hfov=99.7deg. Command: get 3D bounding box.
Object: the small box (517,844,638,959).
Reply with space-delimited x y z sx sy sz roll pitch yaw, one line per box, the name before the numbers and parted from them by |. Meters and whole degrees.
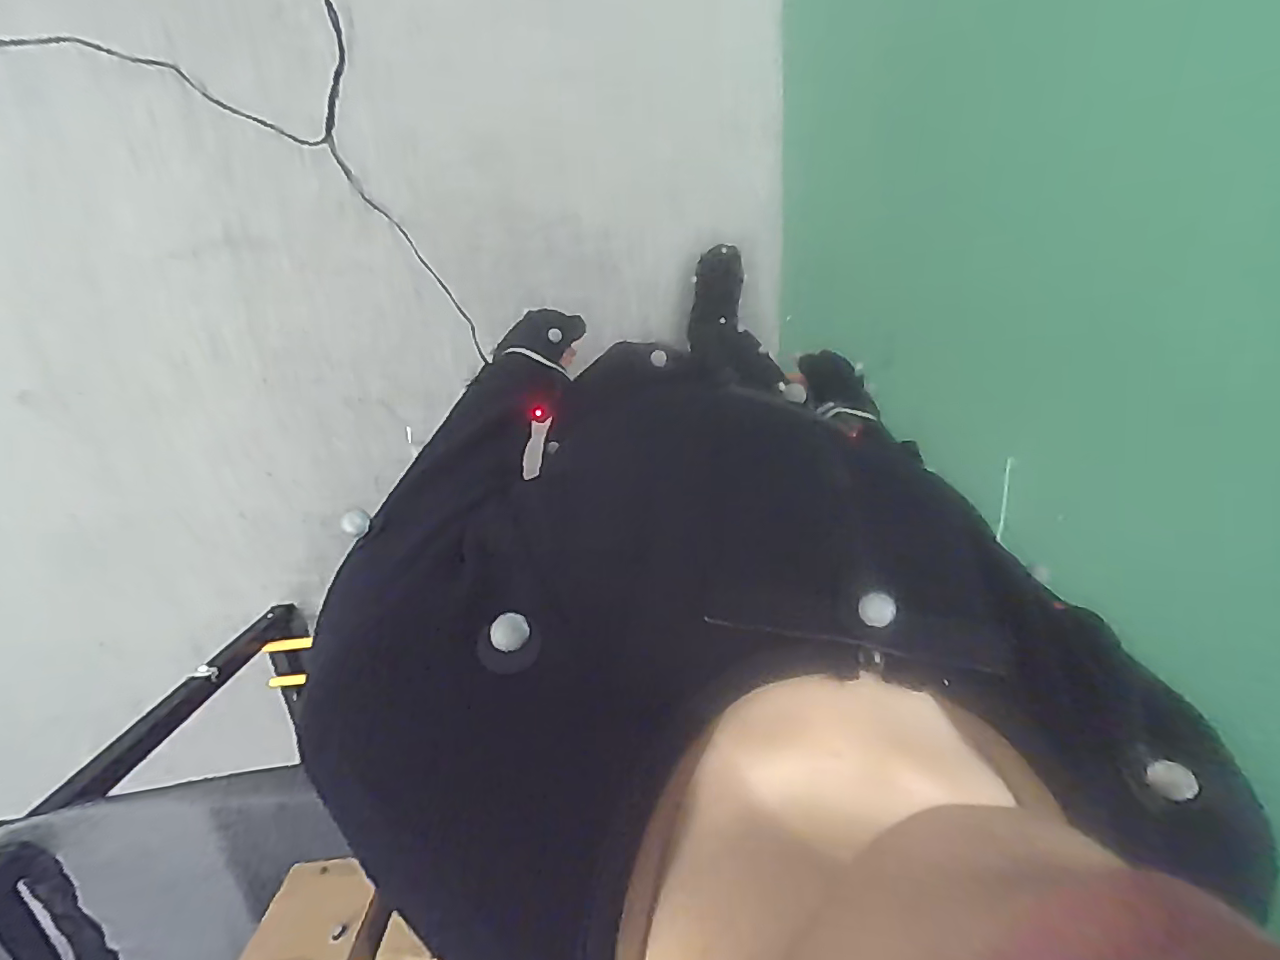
small box | -0.090 0.728 0.867 0.168 0.176 0.179 -5 107 0
